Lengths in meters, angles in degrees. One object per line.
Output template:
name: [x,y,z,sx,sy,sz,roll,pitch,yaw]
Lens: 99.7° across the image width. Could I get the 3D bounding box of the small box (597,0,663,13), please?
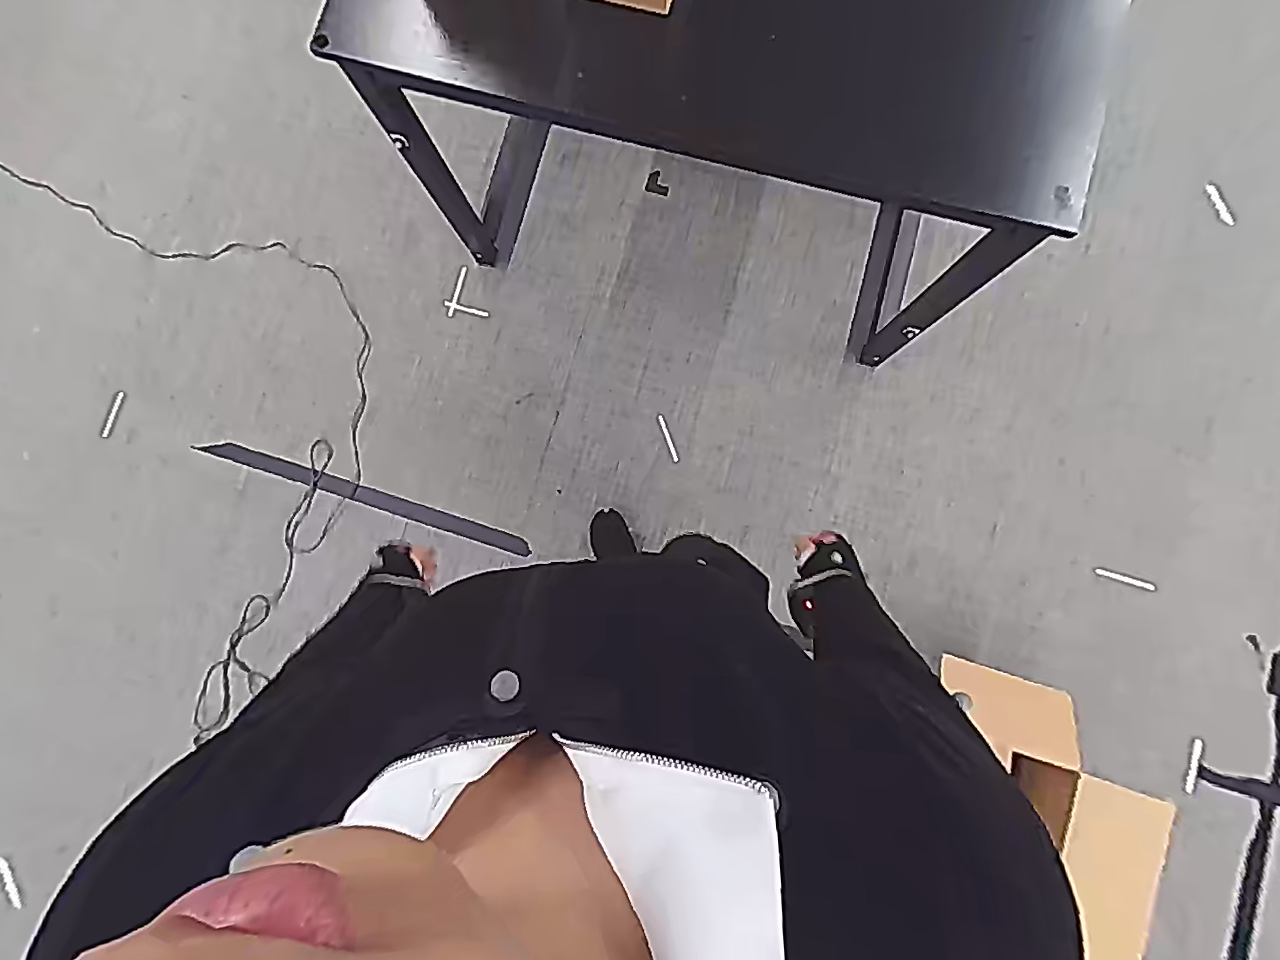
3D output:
small box: [-0.026,-0.827,0.772,0.179,0.176,0.168,15,85,3]
